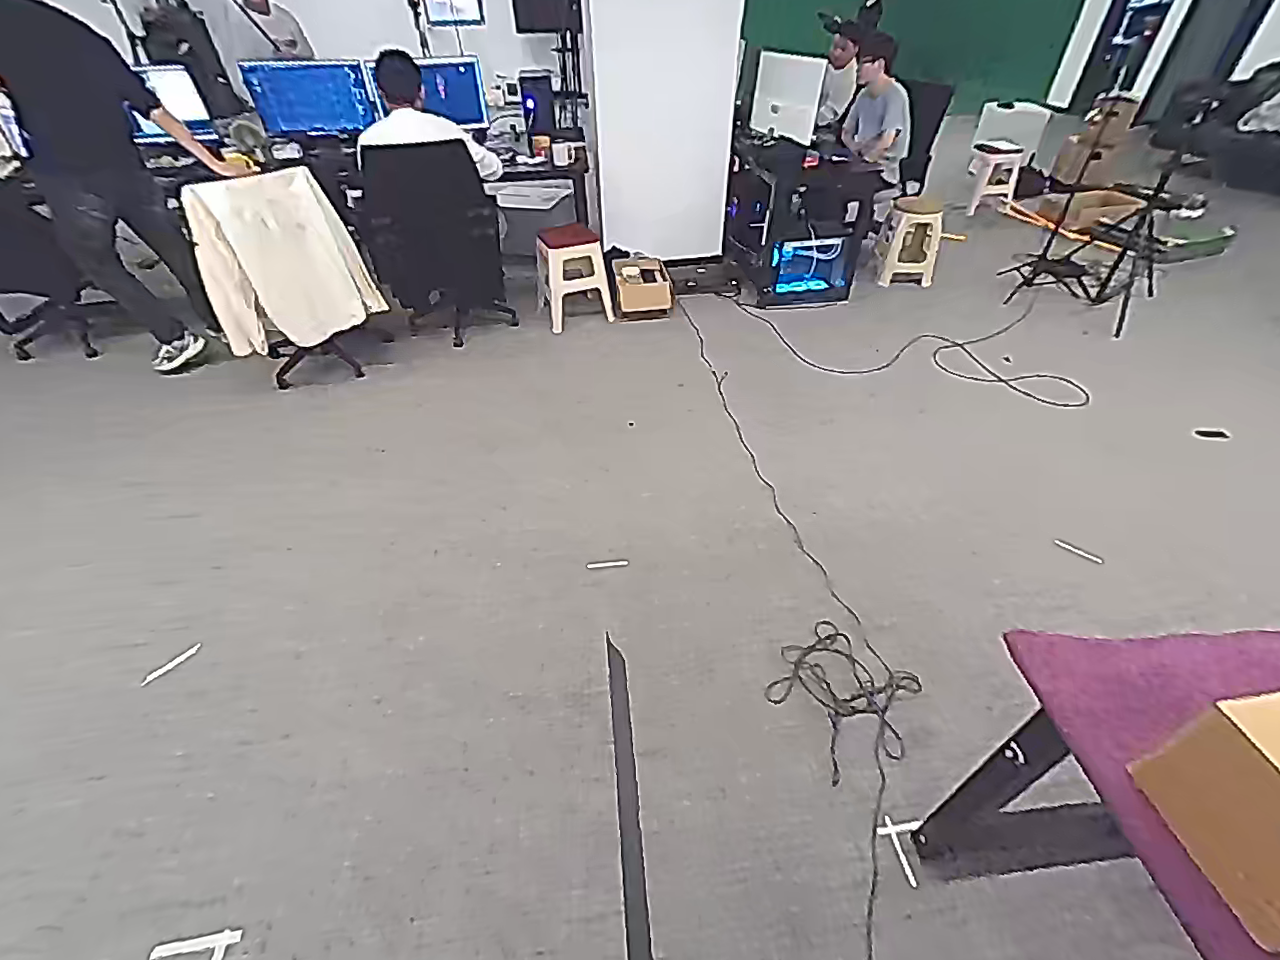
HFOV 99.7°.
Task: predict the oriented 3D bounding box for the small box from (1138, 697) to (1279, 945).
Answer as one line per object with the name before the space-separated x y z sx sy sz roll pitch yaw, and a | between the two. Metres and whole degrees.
small box | 0.685 0.340 0.551 0.168 0.176 0.179 -6 43 -5
